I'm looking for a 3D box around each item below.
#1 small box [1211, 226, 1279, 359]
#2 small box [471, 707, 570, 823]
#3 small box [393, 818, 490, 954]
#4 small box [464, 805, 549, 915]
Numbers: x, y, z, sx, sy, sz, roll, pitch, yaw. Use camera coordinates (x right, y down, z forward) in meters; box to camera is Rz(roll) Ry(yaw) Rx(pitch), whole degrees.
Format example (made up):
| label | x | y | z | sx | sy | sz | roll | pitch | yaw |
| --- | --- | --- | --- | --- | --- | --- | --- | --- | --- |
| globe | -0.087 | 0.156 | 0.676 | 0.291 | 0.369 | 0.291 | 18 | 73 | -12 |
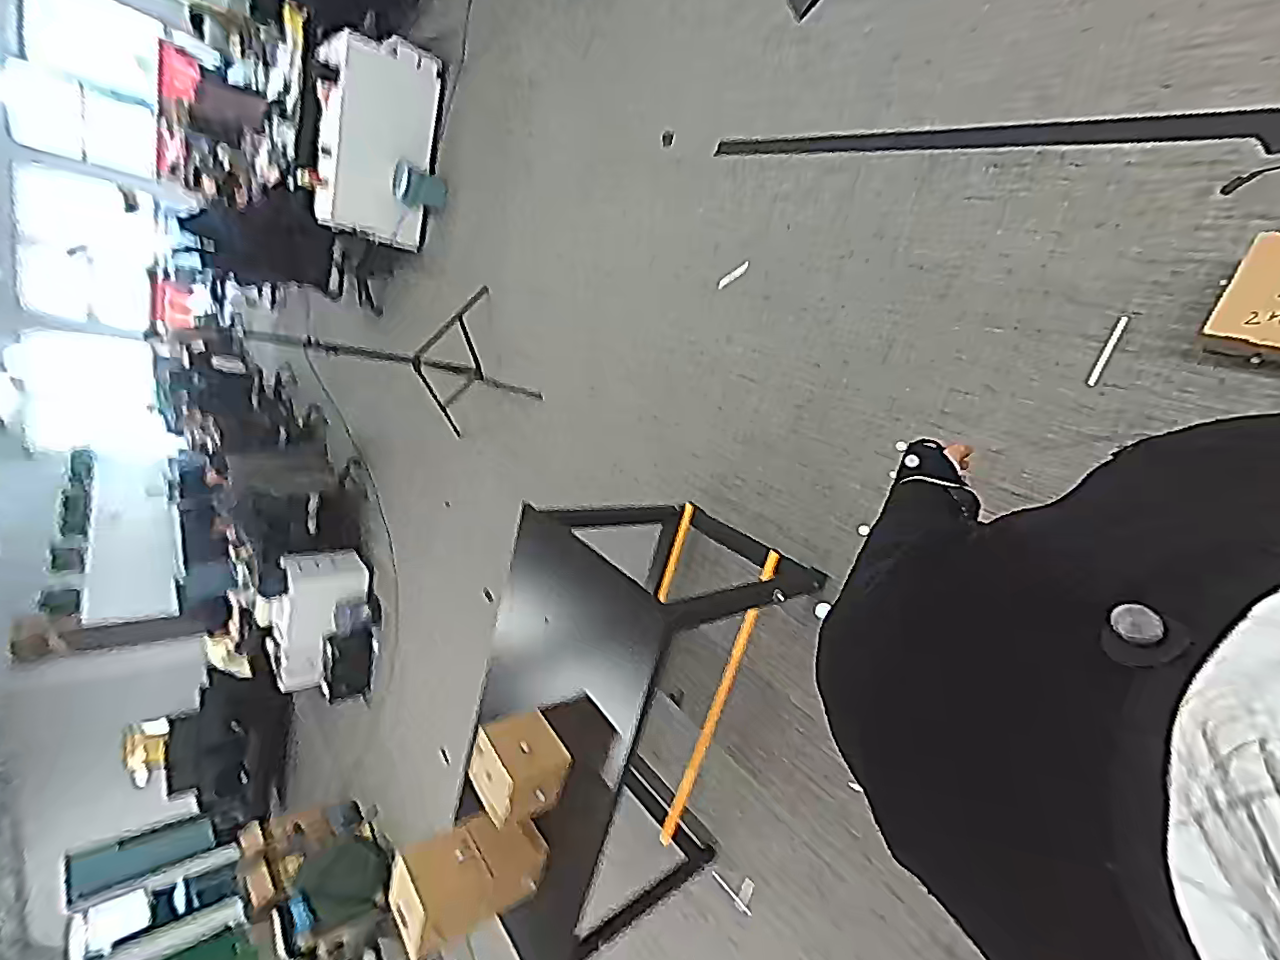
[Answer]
| label | x | y | z | sx | sy | sz | roll | pitch | yaw |
| --- | --- | --- | --- | --- | --- | --- | --- | --- | --- |
| small box | 1.132 | -0.310 | 0.926 | 0.168 | 0.176 | 0.179 | 33 | 114 | 42 |
| small box | -0.303 | 0.715 | 1.379 | 0.179 | 0.176 | 0.168 | 35 | 113 | 41 |
| small box | -0.490 | 0.993 | 1.337 | 0.168 | 0.176 | 0.179 | 30 | 111 | 43 |
| small box | -0.371 | 0.993 | 1.452 | 0.179 | 0.176 | 0.168 | 31 | 113 | 41 |
